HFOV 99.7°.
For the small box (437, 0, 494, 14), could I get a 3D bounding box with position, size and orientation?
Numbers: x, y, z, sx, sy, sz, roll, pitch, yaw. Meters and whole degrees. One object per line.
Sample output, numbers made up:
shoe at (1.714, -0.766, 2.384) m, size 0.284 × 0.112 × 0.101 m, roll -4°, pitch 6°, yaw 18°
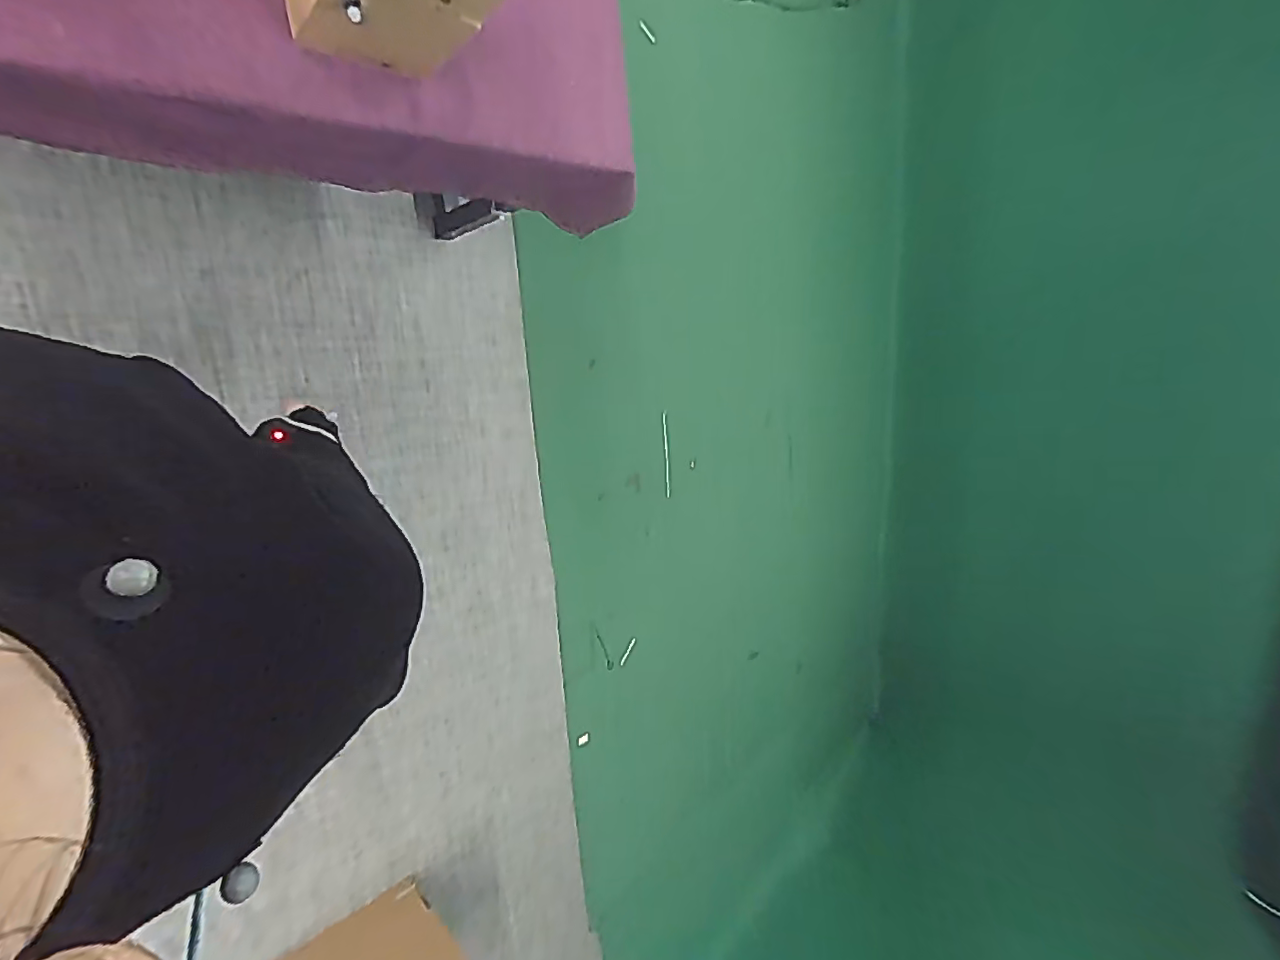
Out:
small box at (-0.201, -0.605, 0.519) m, size 0.168 × 0.176 × 0.179 m, roll -21°, pitch 109°, yaw -42°
